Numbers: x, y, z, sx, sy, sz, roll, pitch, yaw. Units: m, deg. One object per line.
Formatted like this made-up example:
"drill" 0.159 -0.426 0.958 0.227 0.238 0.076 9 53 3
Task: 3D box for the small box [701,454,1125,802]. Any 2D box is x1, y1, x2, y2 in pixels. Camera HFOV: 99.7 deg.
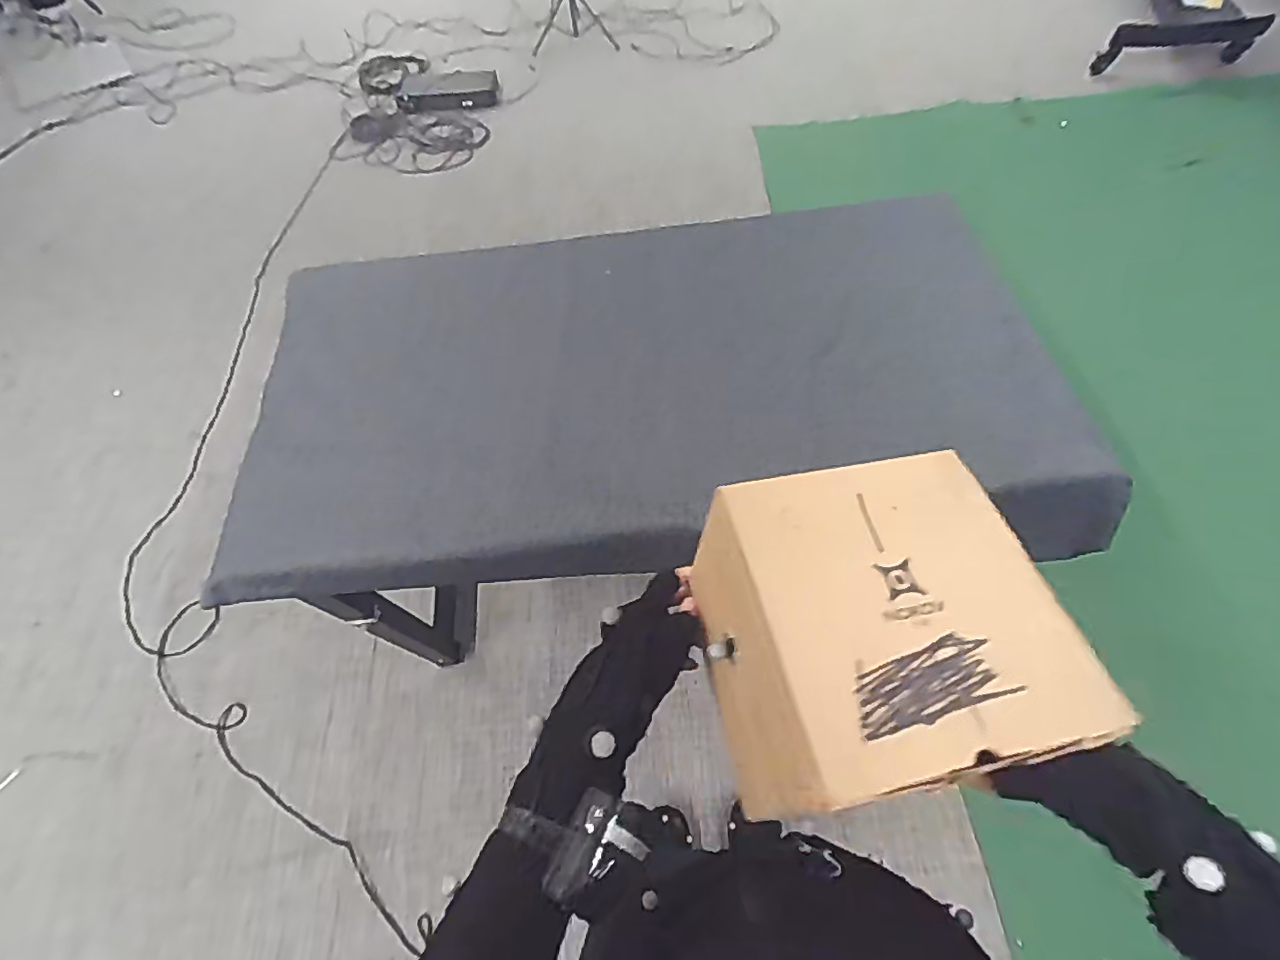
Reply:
"small box" 0.148 0.109 0.373 0.168 0.176 0.179 -8 57 -9
